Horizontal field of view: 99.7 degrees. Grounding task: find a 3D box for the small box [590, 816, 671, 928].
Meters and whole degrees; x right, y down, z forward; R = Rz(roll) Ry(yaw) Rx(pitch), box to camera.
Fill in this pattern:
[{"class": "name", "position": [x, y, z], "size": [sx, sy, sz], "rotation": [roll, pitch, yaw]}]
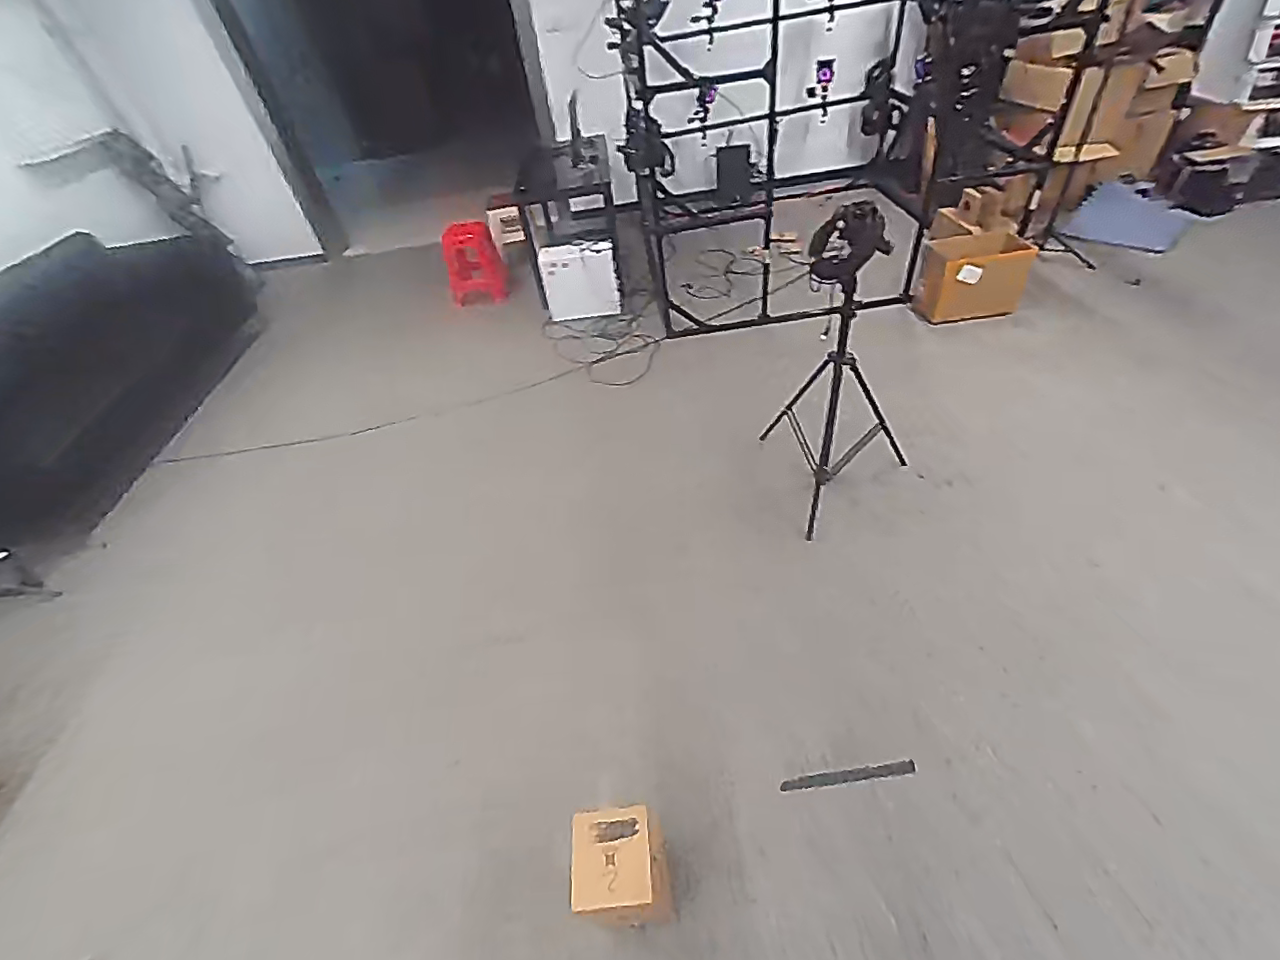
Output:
[{"class": "small box", "position": [-0.023, 0.939, 1.294], "size": [0.168, 0.176, 0.179], "rotation": [-10, 43, 1]}]
